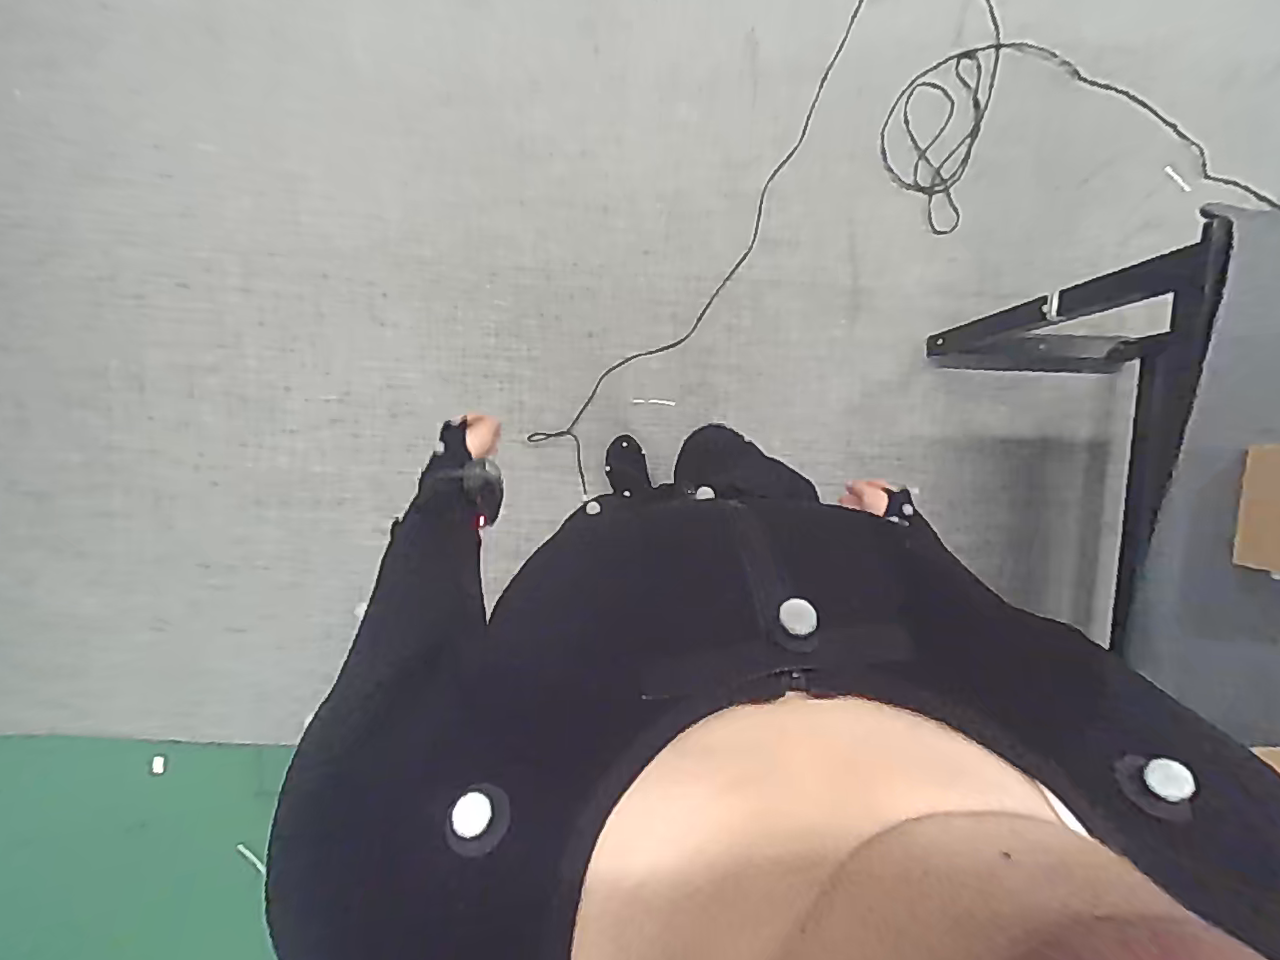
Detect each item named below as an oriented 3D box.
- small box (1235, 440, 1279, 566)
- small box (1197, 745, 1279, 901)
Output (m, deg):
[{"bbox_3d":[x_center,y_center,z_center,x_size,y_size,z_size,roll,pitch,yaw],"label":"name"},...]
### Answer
[{"bbox_3d":[0.947,0.040,0.702,0.168,0.176,0.179,3,94,-3],"label":"small box"},{"bbox_3d":[0.927,0.484,0.735,0.179,0.176,0.168,2,94,-4],"label":"small box"}]
